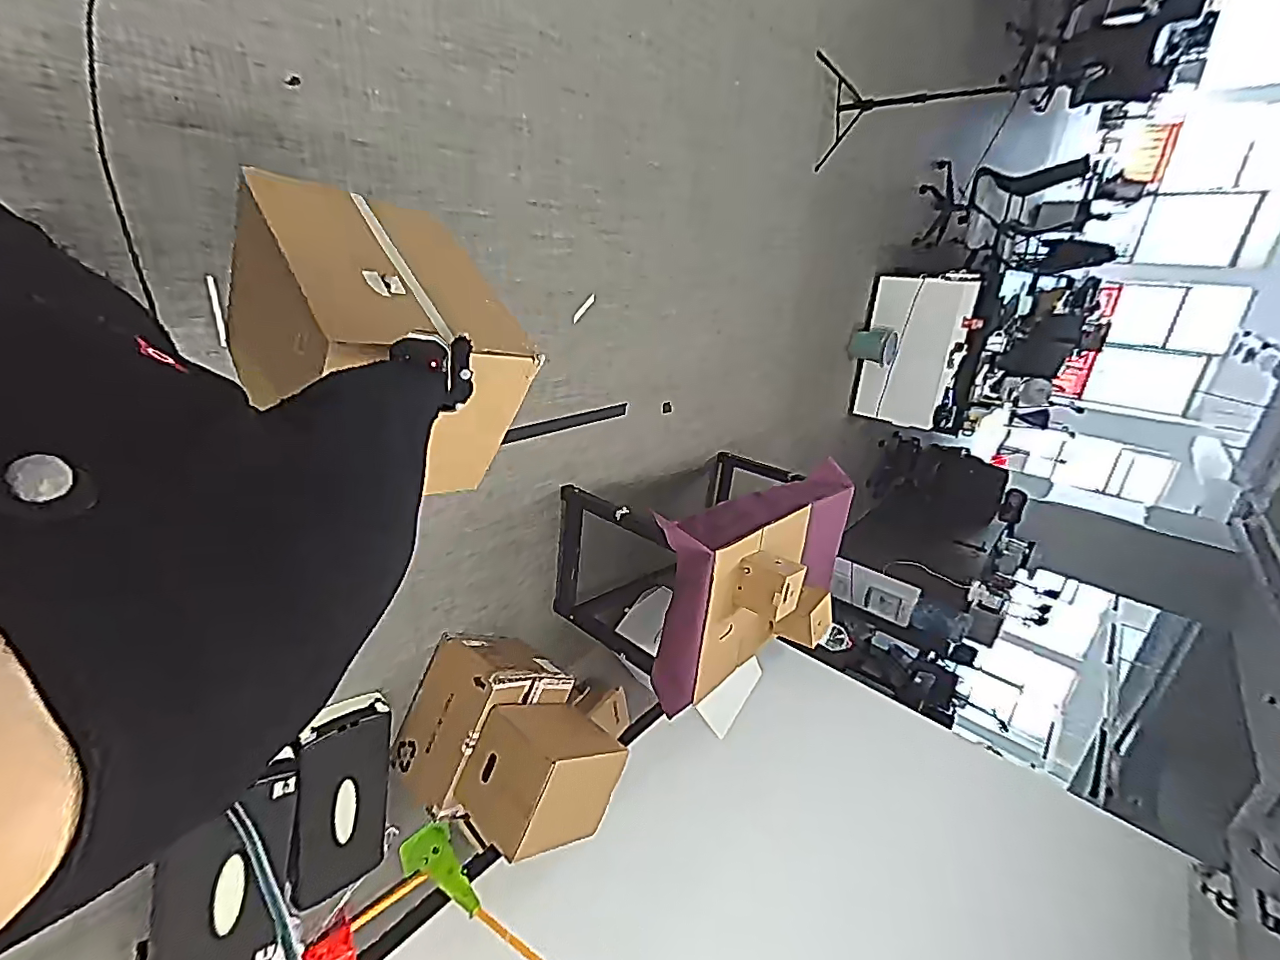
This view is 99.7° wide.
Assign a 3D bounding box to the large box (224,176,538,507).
[{"bbox_3d":[-0.451,-0.217,0.915,0.320,0.408,0.320,-10,147,-48],"label":"large box"}]
